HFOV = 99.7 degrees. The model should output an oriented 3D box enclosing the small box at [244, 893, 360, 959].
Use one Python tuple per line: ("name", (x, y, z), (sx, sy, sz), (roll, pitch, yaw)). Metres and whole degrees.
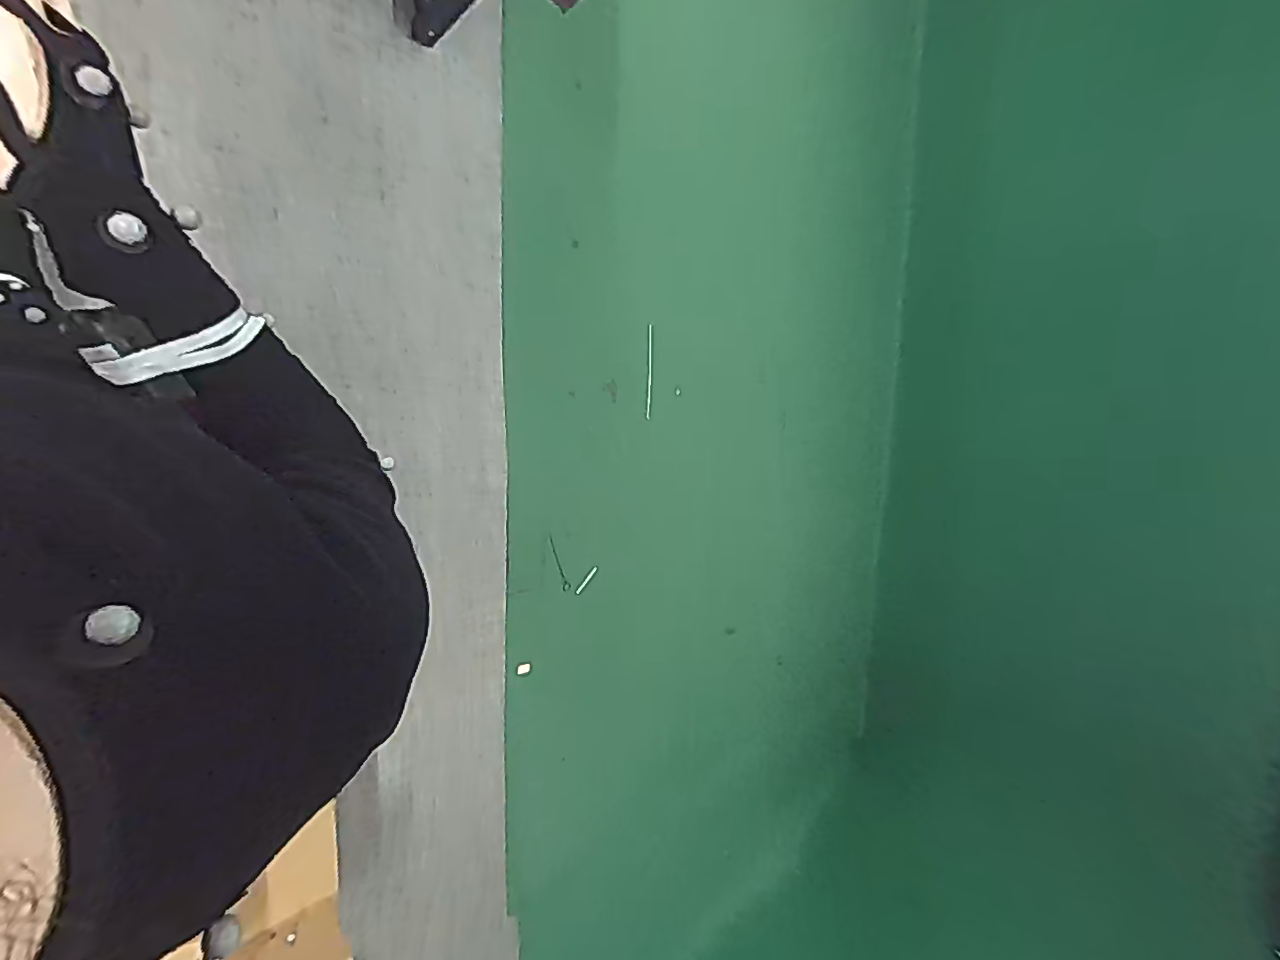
("small box", (-0.683, 1.004, 1.093), (0.168, 0.176, 0.179), (-6, 104, -46))
